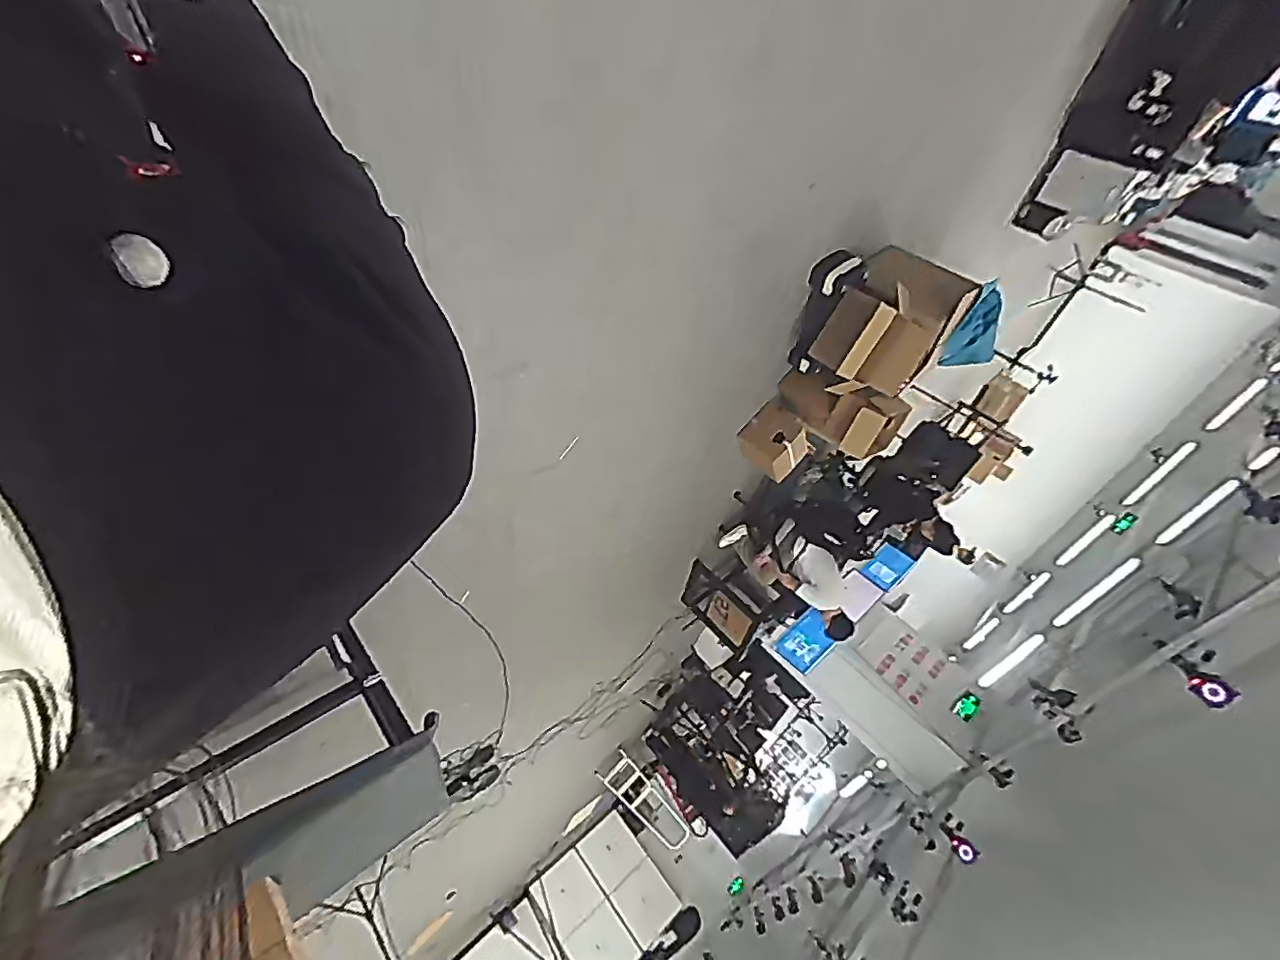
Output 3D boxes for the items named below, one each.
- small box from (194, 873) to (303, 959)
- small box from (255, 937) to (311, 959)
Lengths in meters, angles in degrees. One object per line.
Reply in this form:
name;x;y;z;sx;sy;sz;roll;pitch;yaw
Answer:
small box;-0.990;1.151;1.365;0.179;0.176;0.168;-25;145;-36
small box;-0.880;1.248;1.295;0.168;0.176;0.179;-29;146;-36
